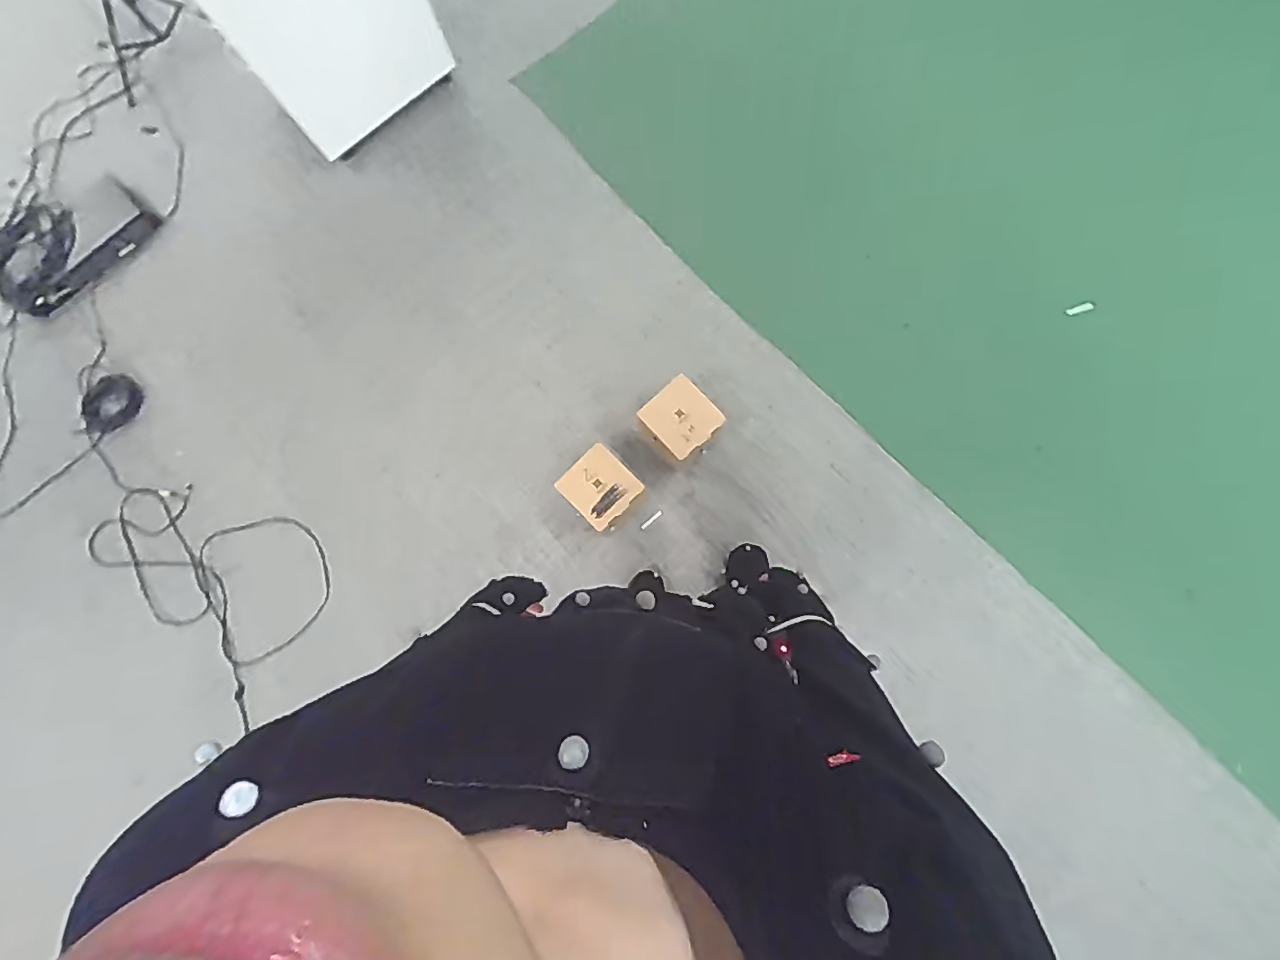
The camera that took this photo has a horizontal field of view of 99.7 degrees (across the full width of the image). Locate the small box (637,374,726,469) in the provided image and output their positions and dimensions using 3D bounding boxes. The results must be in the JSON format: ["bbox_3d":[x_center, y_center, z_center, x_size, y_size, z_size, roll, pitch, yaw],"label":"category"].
[{"bbox_3d":[0.111,-0.152,1.475,0.168,0.176,0.179,-42,81,-3],"label":"small box"}]
